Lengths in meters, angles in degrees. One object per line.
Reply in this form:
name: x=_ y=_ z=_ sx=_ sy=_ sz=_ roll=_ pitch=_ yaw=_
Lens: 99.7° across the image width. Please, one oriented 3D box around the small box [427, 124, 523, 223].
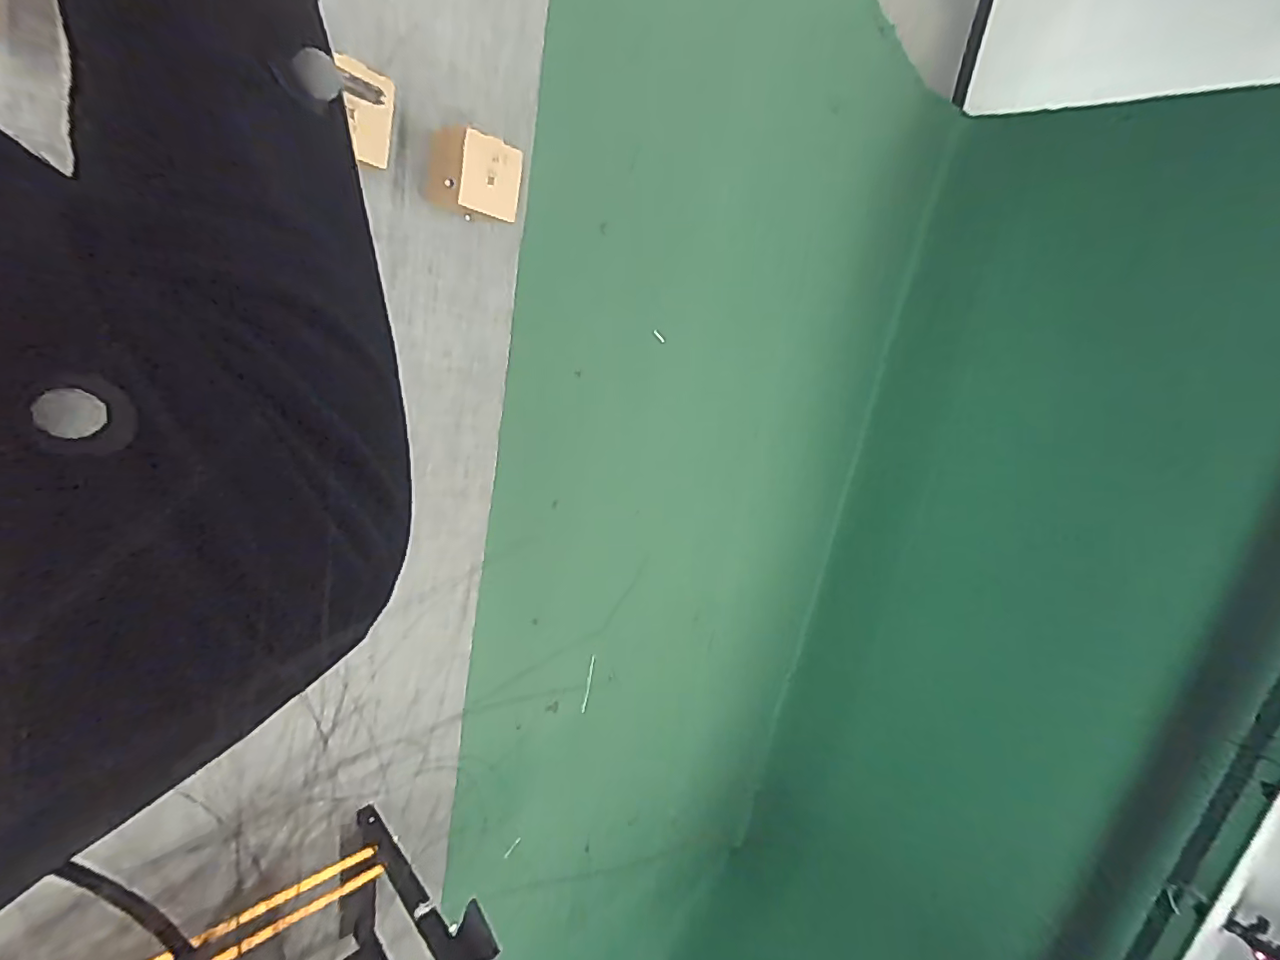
small box: x=-0.428 y=-0.779 z=1.390 sx=0.168 sy=0.176 sz=0.179 roll=-5 pitch=111 yaw=-49
